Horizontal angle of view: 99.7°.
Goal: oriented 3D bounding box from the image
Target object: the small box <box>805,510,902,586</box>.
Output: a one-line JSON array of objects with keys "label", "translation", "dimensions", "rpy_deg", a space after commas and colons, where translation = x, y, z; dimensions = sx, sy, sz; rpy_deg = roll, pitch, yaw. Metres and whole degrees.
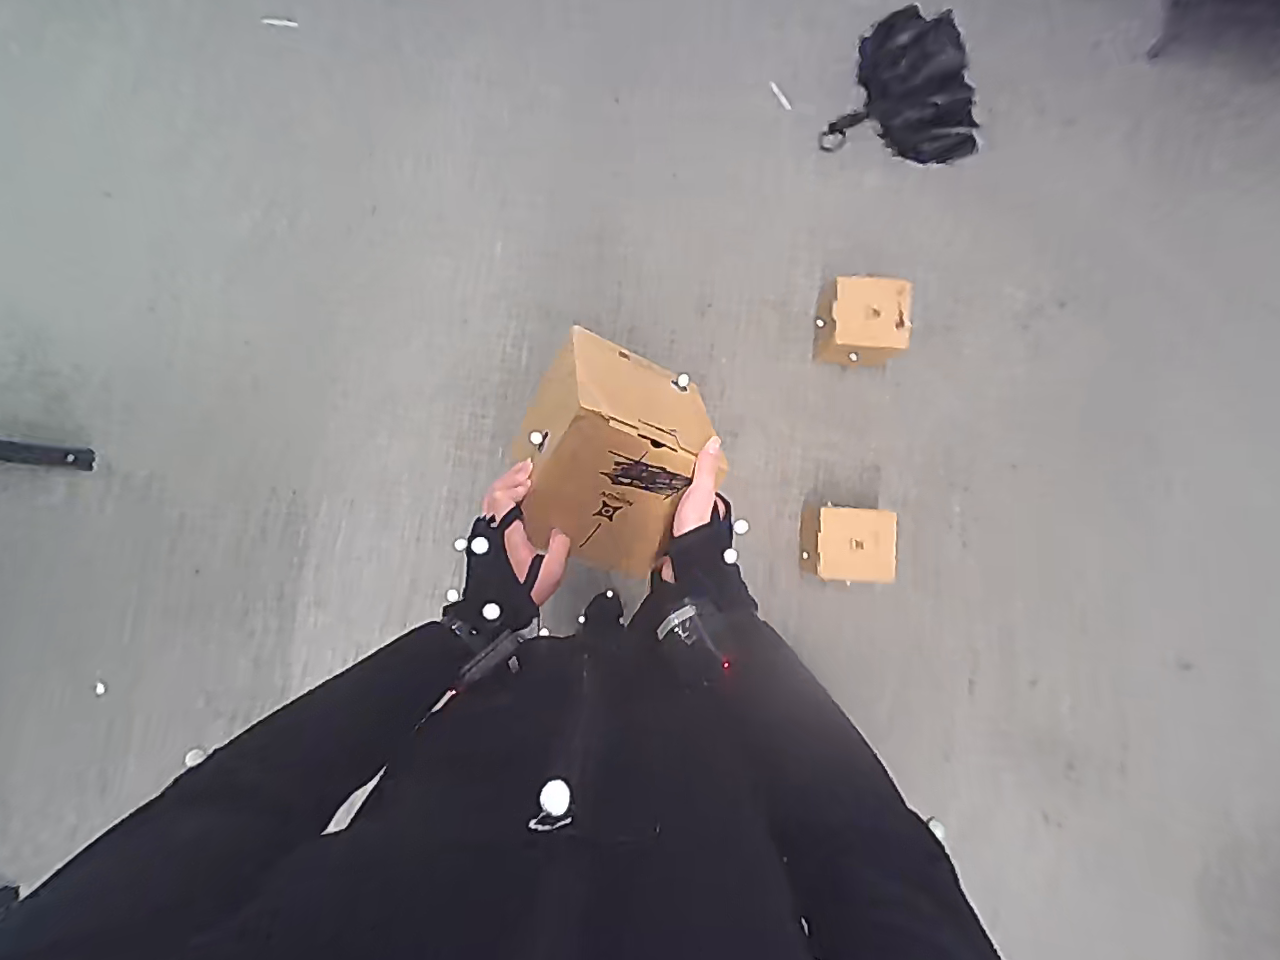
[{"label": "small box", "translation": [0.506, 0.160, 1.302], "dimensions": [0.179, 0.176, 0.168], "rpy_deg": [3, 86, 1]}]

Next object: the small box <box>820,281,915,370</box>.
[{"label": "small box", "translation": [0.557, -0.378, 1.343], "dimensions": [0.179, 0.176, 0.168], "rpy_deg": [4, 86, 4]}]

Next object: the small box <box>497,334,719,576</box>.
[{"label": "small box", "translation": [-0.043, -0.030, 0.594], "dimensions": [0.168, 0.176, 0.179], "rpy_deg": [22, 123, -23]}]
